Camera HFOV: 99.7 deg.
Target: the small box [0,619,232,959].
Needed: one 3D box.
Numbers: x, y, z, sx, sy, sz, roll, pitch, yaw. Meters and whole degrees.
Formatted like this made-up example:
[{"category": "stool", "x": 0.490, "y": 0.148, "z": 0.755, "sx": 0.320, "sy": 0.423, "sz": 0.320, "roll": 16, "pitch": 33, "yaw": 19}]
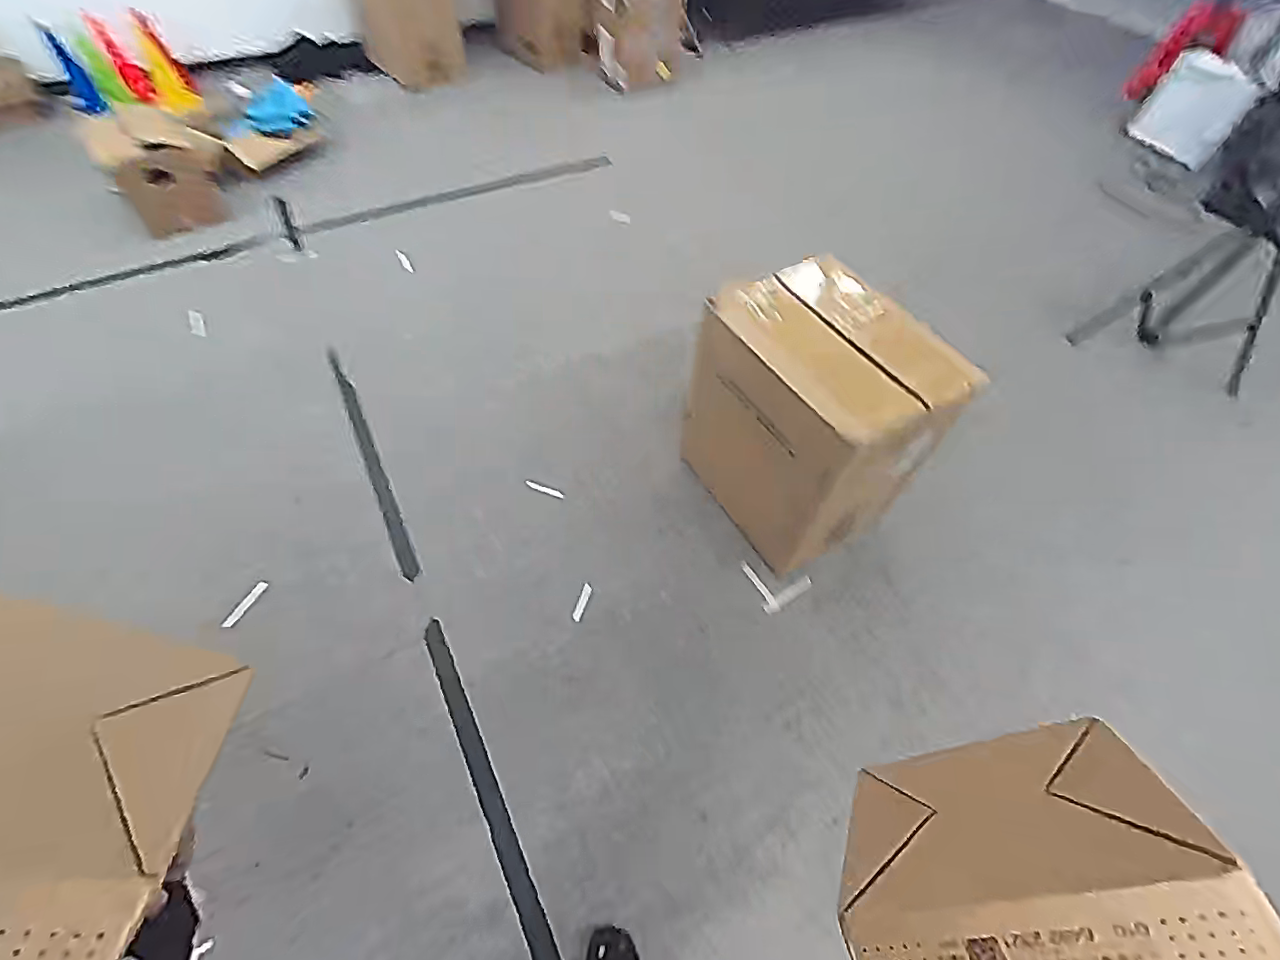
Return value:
[{"category": "small box", "x": -0.306, "y": 0.164, "z": 0.216, "sx": 0.168, "sy": 0.179, "sz": 0.176, "roll": 26, "pitch": 86, "yaw": -25}]
